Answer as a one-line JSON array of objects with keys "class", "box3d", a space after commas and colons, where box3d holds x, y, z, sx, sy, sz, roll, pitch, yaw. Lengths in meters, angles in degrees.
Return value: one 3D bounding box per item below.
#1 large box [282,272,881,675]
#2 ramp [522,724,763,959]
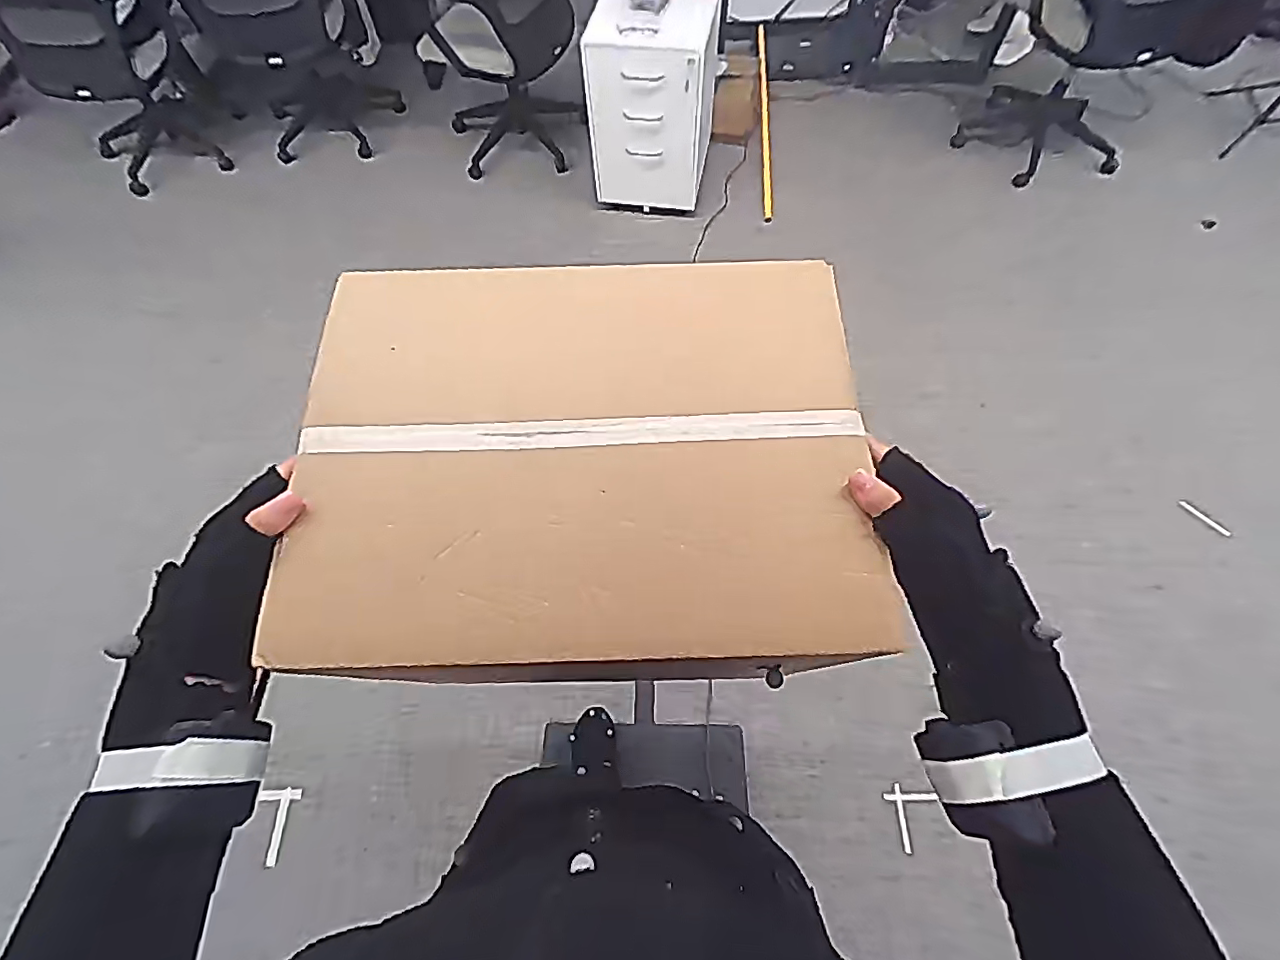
[{"class": "large box", "box3d": [-0.039, 0.026, 0.546, 0.408, 0.320, 0.320, -1, 67, 1]}, {"class": "ramp", "box3d": [0.001, 1.012, 1.061, 0.509, 0.206, 0.991, -2, 62, 2]}]
